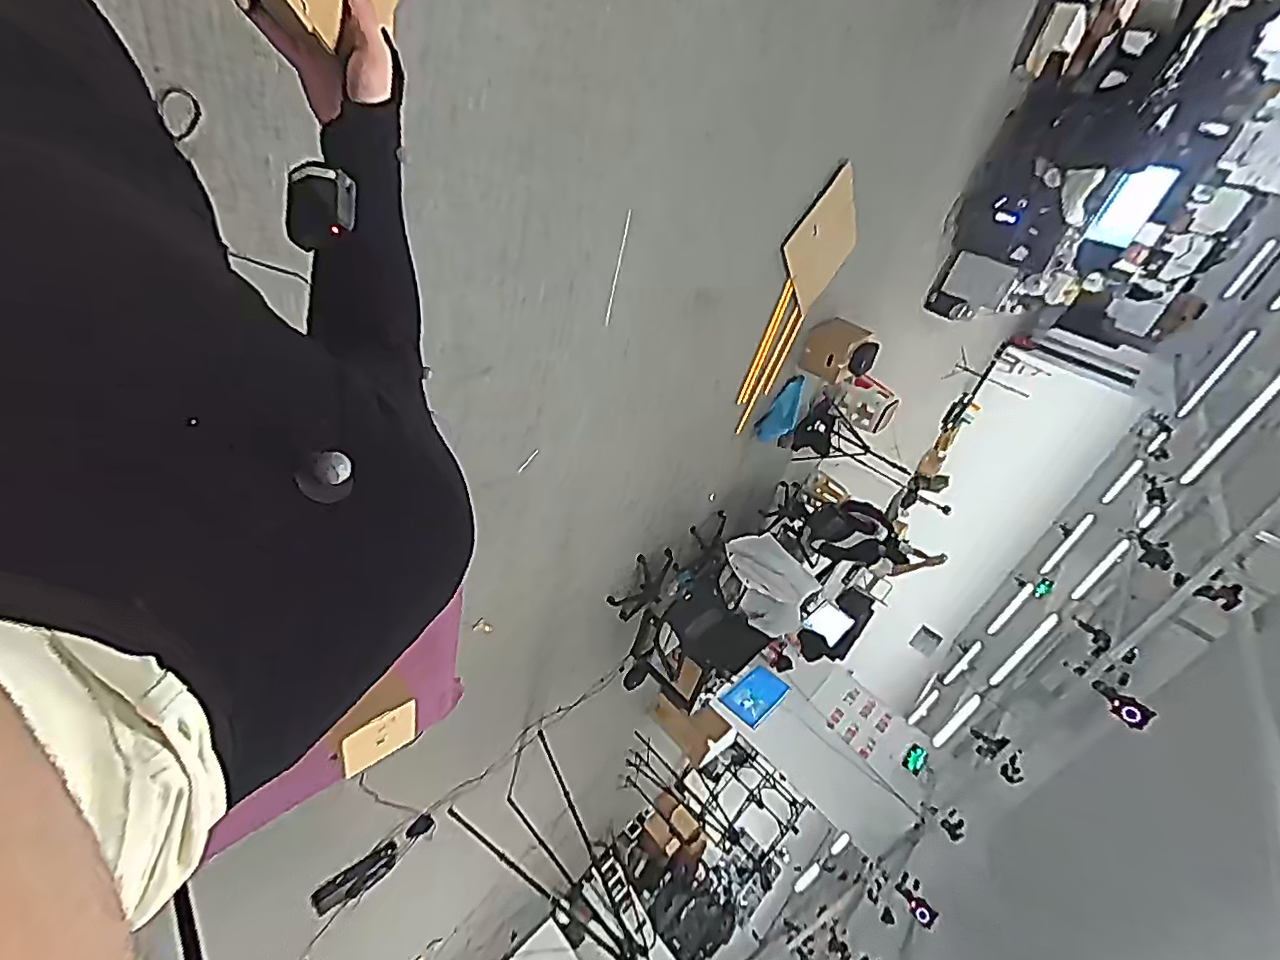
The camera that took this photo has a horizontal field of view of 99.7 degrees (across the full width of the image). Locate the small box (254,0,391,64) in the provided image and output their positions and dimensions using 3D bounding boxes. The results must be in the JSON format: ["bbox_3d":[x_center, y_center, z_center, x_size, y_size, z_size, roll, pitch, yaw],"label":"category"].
[{"bbox_3d":[-0.295,-0.499,0.420,0.179,0.176,0.168,-57,-177,1],"label":"small box"}]

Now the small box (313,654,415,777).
[{"bbox_3d":[-0.659,0.554,1.292,0.168,0.176,0.179,-21,138,-43],"label":"small box"}]
